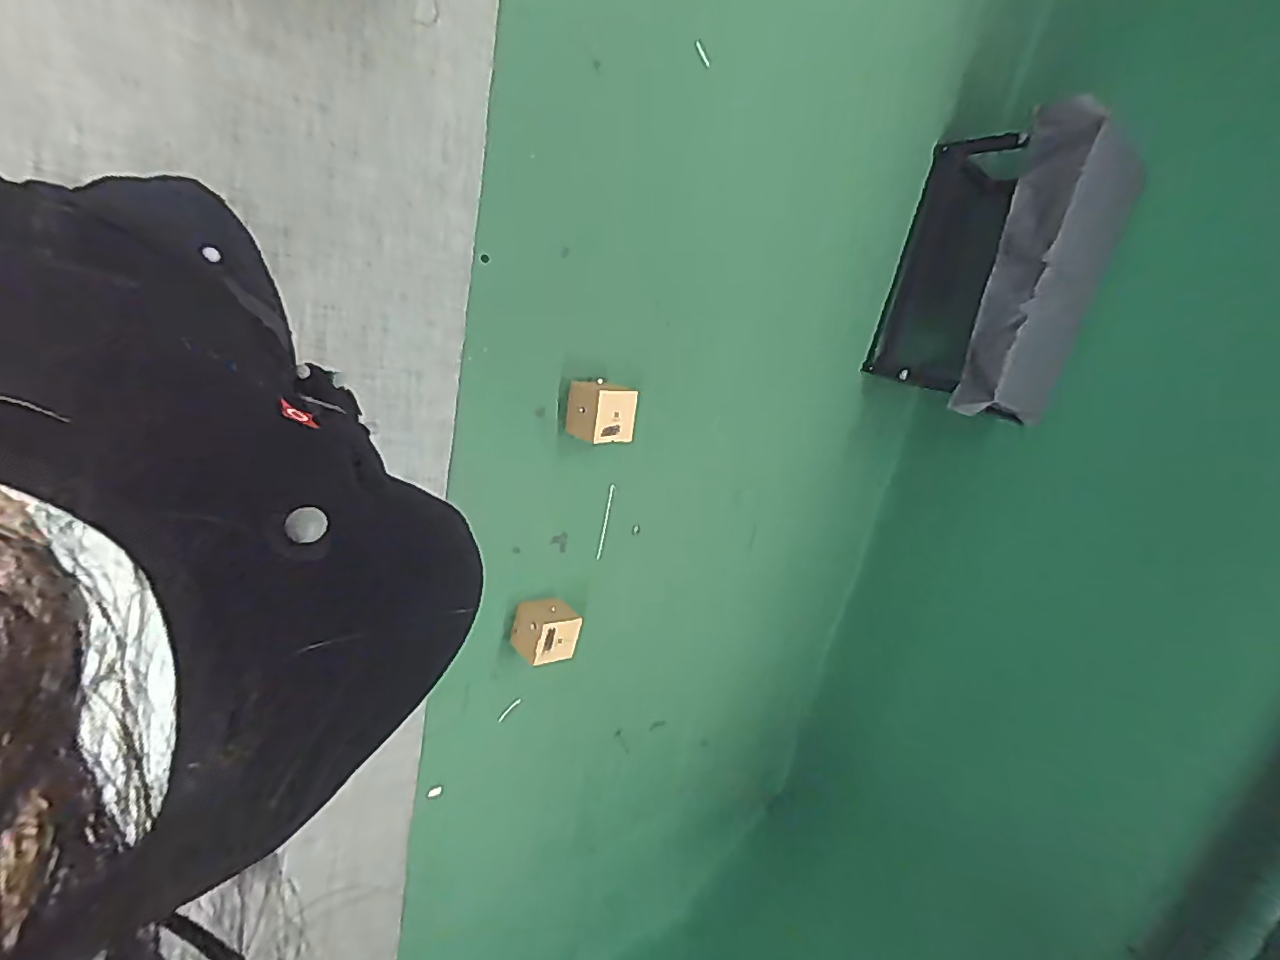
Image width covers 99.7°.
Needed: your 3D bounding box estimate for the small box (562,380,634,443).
[{"bbox_3d":[-0.146,-0.231,1.816,0.168,0.176,0.179,-7,113,-42],"label":"small box"}]
